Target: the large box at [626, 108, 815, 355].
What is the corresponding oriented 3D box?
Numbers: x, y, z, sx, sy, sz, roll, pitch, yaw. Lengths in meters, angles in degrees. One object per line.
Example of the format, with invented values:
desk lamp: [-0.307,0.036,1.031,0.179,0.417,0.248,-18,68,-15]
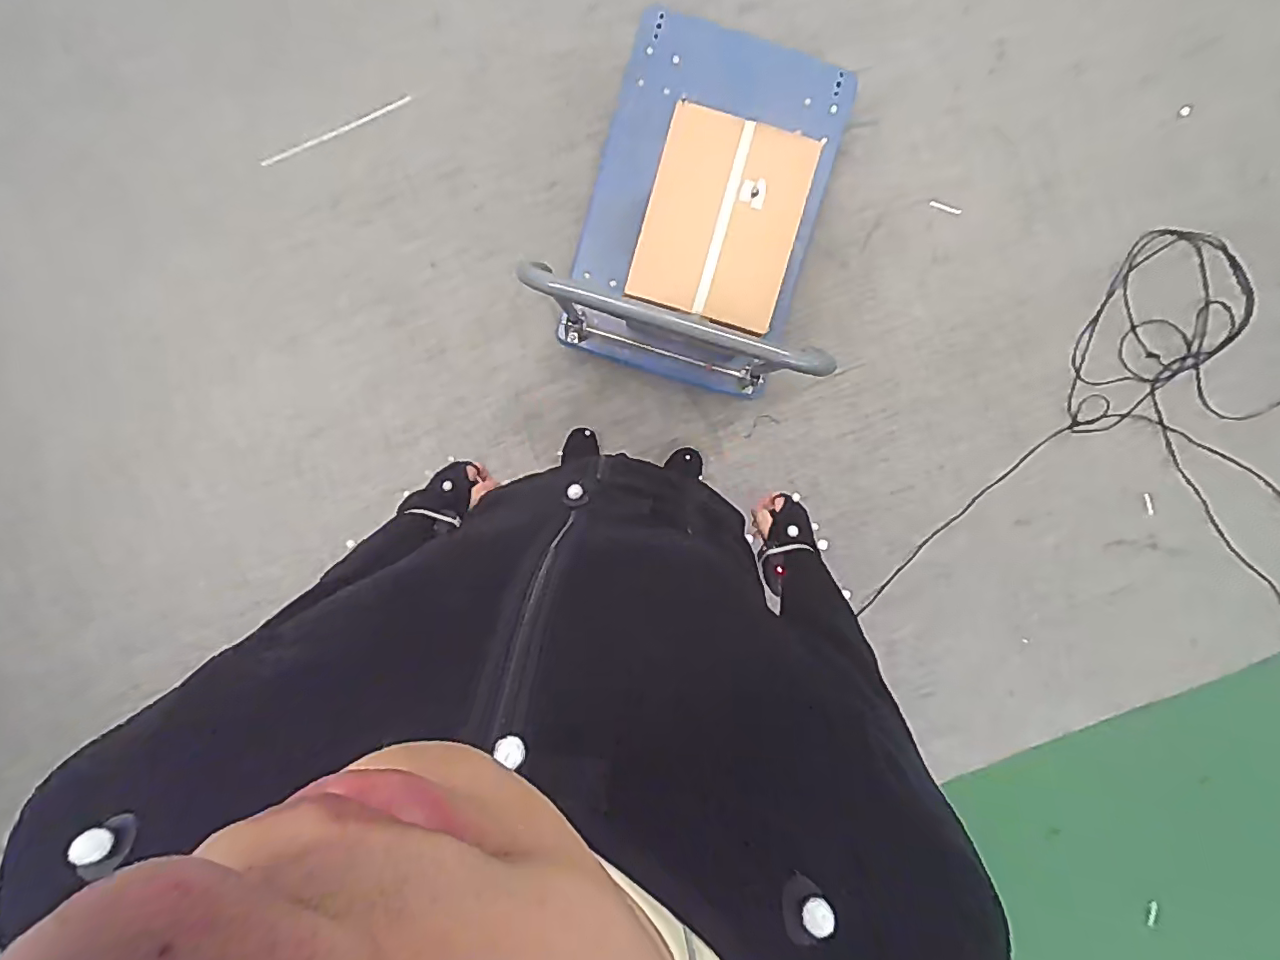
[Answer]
large box: [0.166,-0.550,1.281,0.320,0.320,0.408,17,93,-2]
